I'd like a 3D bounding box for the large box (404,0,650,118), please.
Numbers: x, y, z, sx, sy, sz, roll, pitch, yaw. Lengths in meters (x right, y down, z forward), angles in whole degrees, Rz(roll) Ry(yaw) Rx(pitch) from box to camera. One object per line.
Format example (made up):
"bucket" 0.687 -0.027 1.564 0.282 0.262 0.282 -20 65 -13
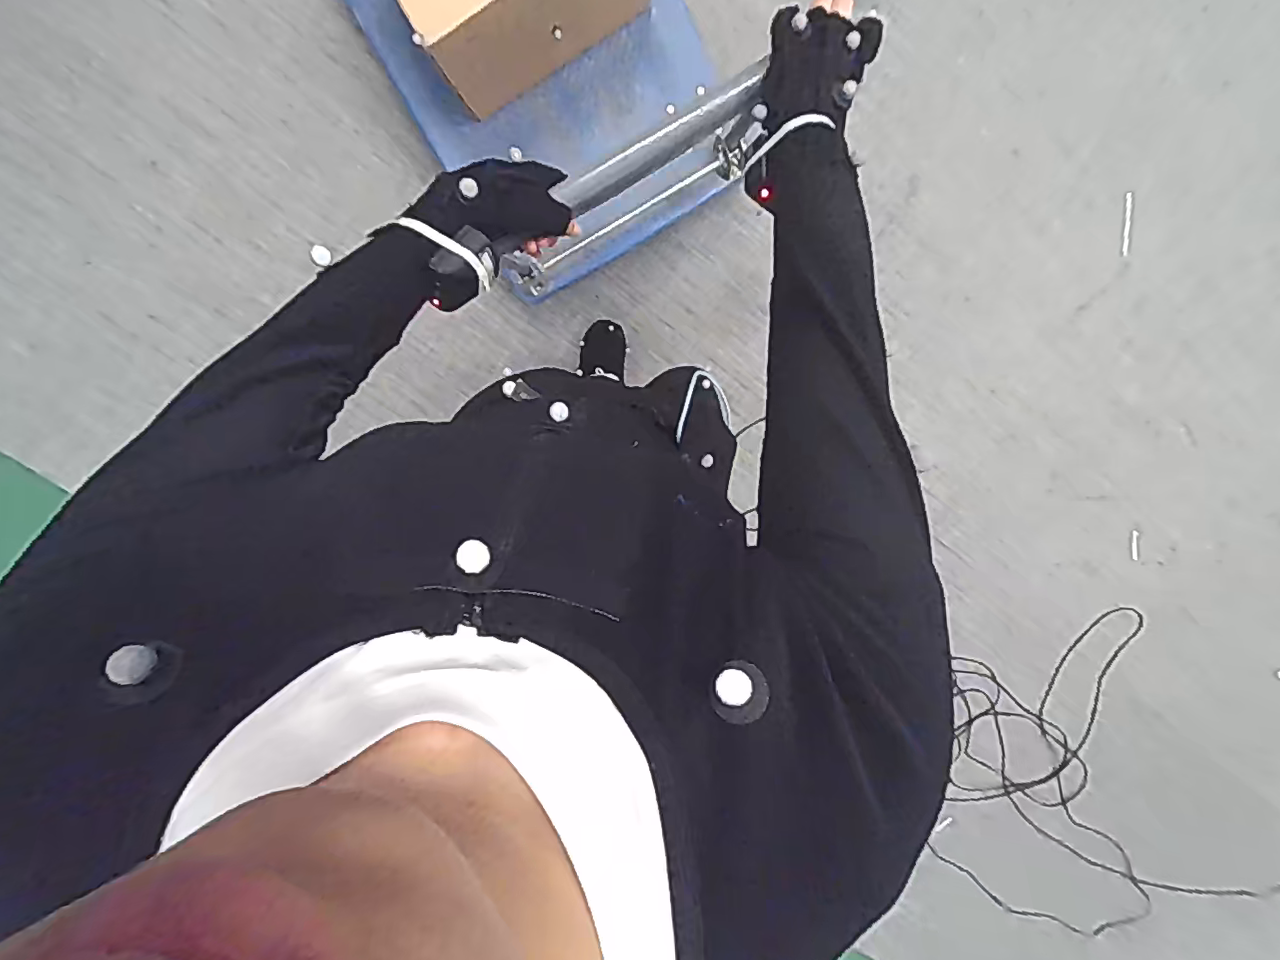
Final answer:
"large box" -0.217 -0.914 0.901 0.408 0.320 0.320 -30 104 8
